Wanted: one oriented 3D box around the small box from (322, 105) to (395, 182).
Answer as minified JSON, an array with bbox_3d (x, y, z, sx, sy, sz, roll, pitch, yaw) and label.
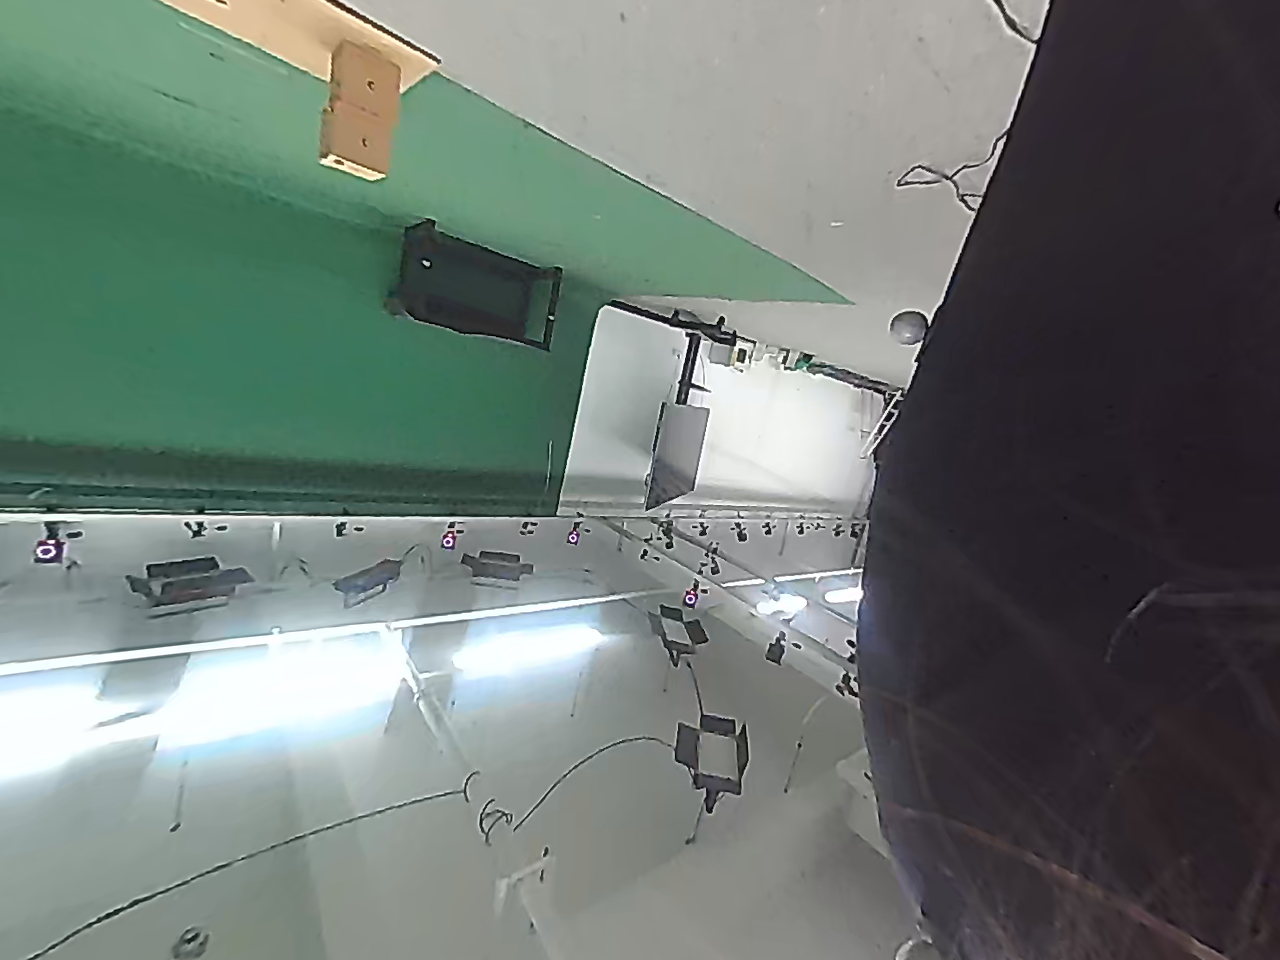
[{"bbox_3d":[-0.951,-1.139,1.827,0.179,0.176,0.168,-1,-163,-45],"label":"small box"}]
